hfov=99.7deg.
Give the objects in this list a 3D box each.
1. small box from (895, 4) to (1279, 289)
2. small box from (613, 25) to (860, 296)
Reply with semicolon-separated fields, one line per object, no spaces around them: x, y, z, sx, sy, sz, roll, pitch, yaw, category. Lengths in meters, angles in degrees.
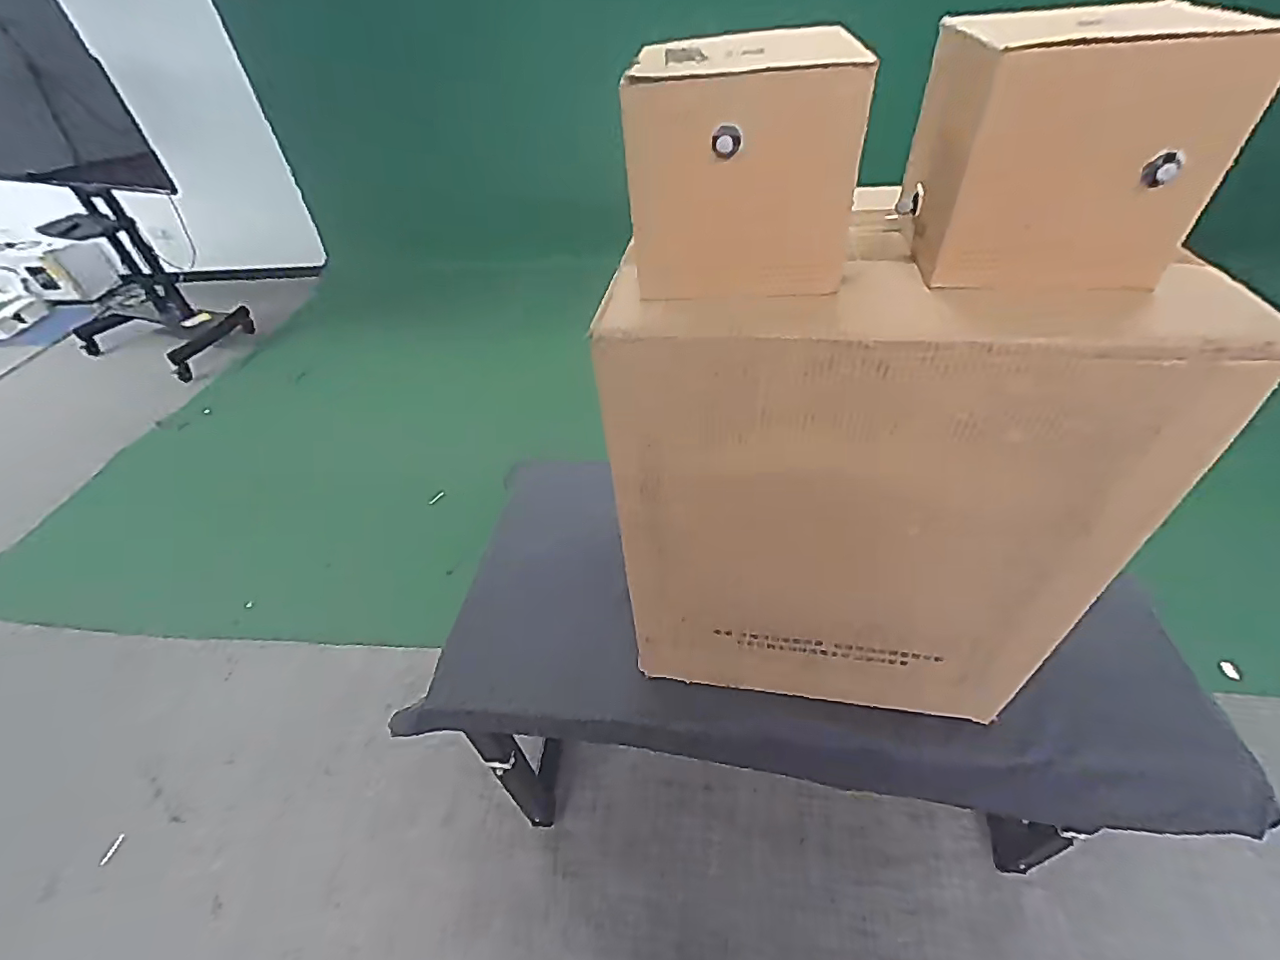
0.338;-0.275;0.456;0.179;0.176;0.168;4;46;10;small box
0.088;-0.281;0.488;0.179;0.176;0.168;4;48;11;small box
